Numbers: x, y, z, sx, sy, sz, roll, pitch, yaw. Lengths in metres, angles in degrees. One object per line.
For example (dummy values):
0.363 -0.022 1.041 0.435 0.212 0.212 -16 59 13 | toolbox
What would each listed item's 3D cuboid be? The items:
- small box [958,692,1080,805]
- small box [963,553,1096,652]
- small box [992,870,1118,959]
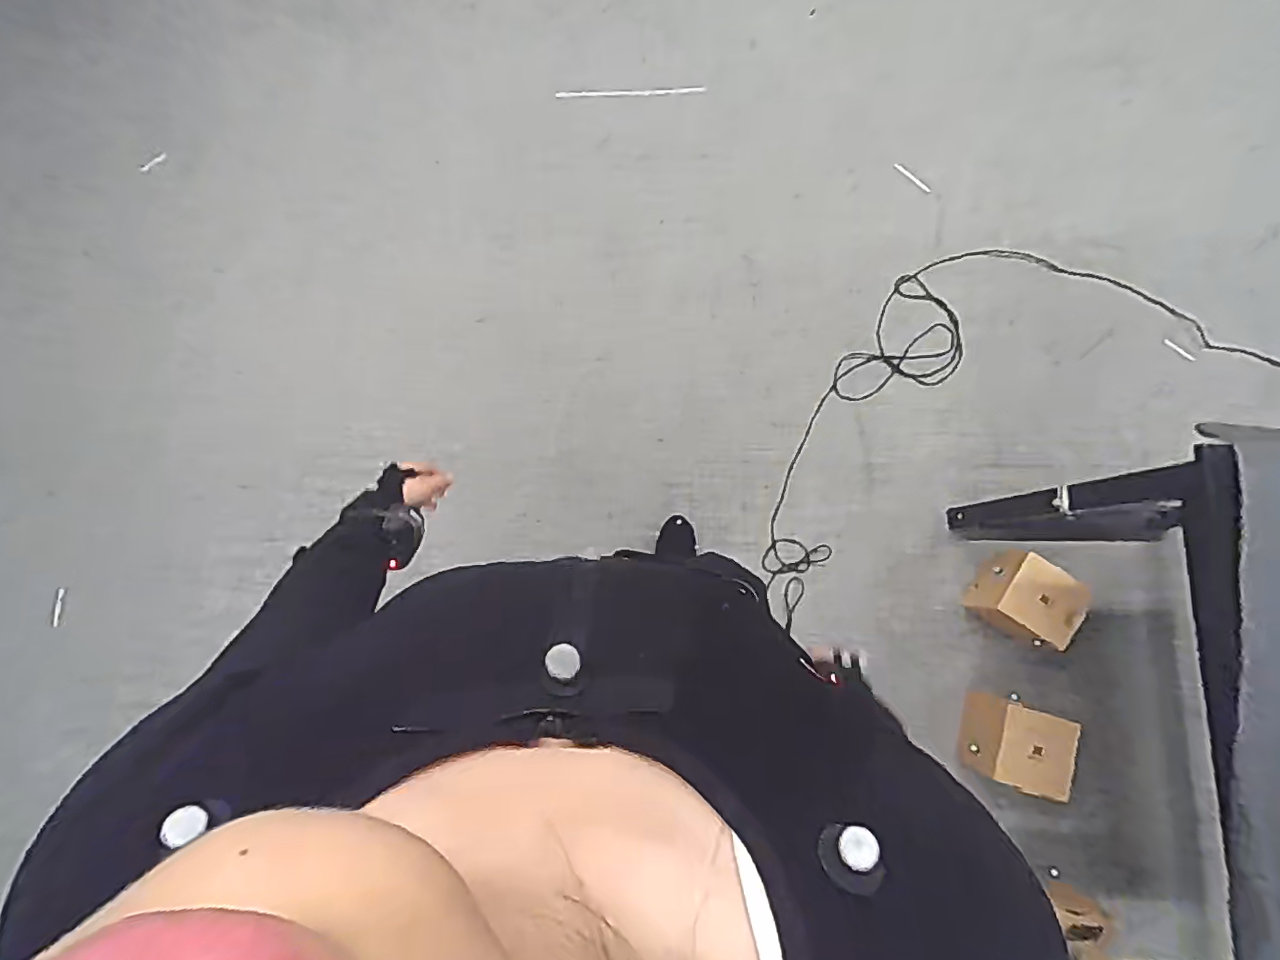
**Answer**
0.894 0.630 1.291 0.168 0.176 0.179 15 80 4 | small box
0.954 0.300 1.344 0.179 0.176 0.168 33 83 7 | small box
0.929 1.026 1.223 0.168 0.176 0.179 6 82 4 | small box
